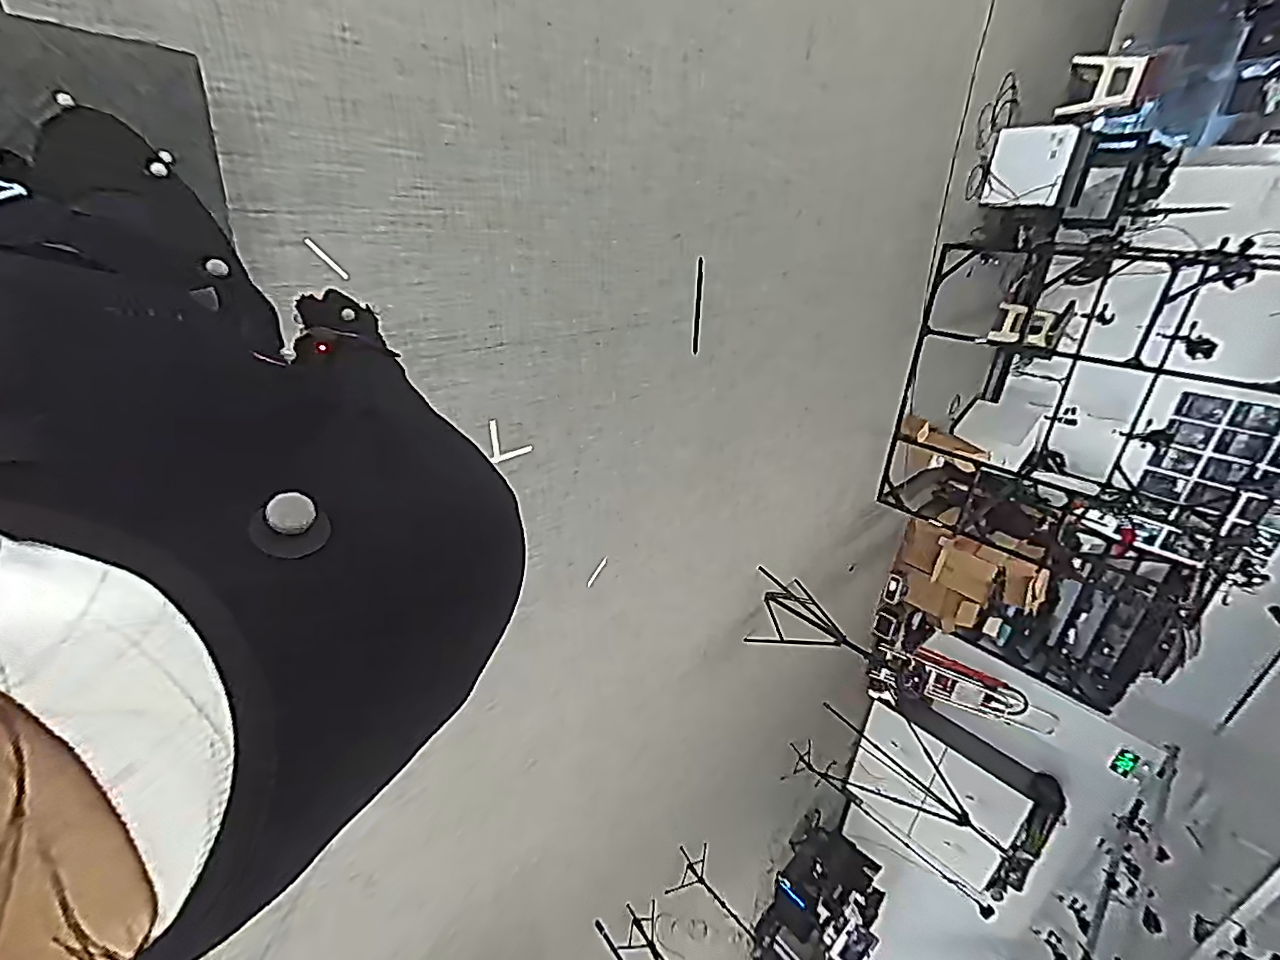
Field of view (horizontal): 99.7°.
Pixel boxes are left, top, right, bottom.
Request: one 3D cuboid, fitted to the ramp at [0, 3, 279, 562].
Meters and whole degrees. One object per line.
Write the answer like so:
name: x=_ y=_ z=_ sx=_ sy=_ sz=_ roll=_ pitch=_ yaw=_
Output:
ramp: x=-1.058 y=-0.290 z=1.047 sx=0.509 sy=0.206 sz=0.991 roll=-21 pitch=125 yaw=-39
